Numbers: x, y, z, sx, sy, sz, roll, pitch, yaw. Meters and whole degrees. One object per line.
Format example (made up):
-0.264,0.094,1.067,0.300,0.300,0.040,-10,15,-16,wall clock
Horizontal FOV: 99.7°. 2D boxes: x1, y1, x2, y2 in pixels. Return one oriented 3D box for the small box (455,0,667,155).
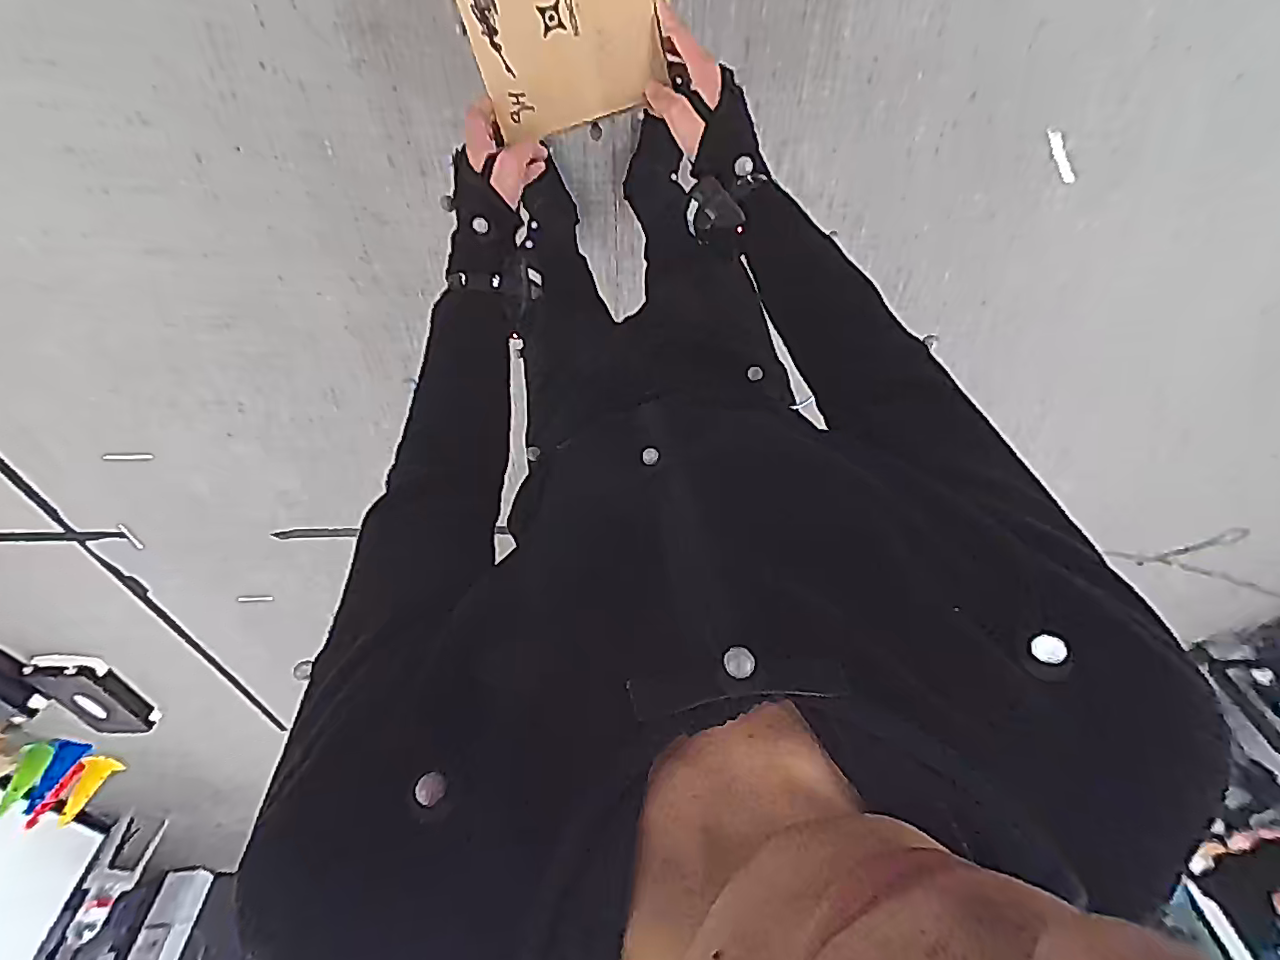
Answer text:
-0.078,-0.464,0.574,0.179,0.176,0.168,-12,123,6,small box
